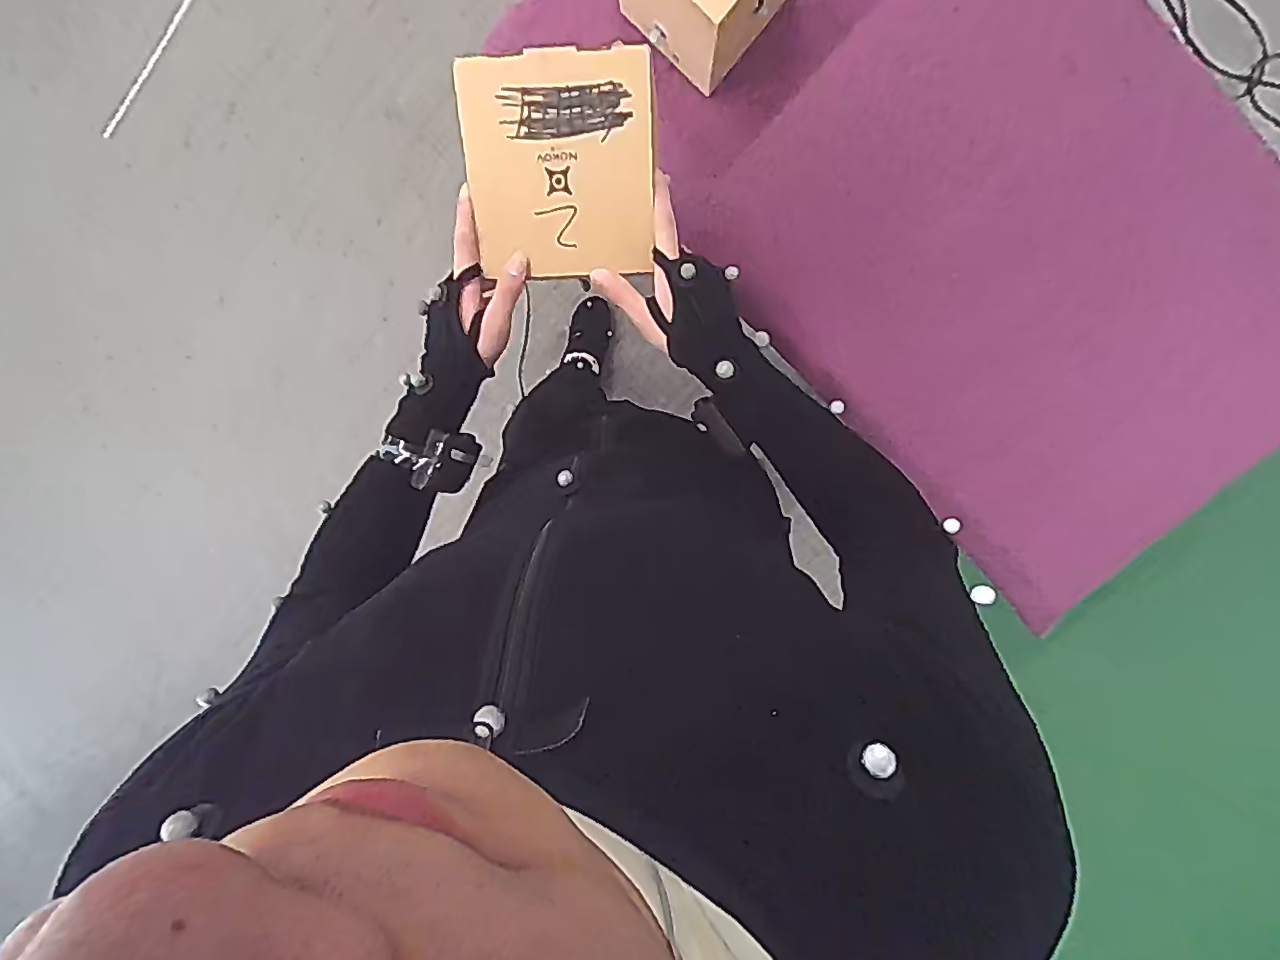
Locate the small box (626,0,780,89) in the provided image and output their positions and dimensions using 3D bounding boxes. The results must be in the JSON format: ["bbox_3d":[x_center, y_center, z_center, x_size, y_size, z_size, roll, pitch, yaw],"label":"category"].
[{"bbox_3d":[0.085,-0.635,0.649,0.168,0.176,0.179,41,101,-6],"label":"small box"}]
